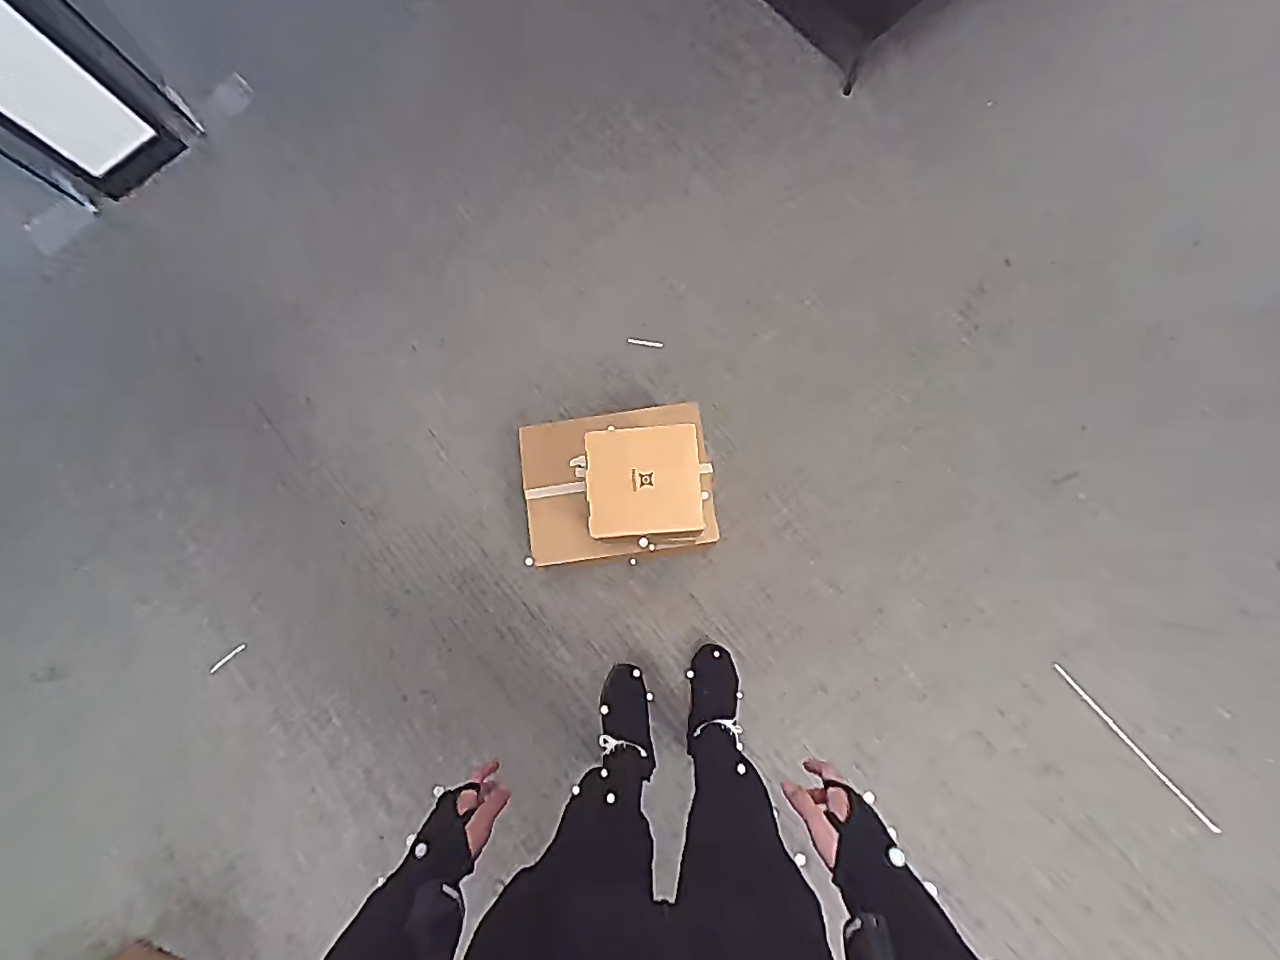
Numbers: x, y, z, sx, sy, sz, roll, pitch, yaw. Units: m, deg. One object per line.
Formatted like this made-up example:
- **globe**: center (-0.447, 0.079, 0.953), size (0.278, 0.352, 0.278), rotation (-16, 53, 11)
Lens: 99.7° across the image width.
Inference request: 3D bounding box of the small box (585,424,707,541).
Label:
- **small box**: center (0.012, 0.011, 0.887), size (0.179, 0.176, 0.168), rotation (-5, 81, 4)

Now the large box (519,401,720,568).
- **large box**: center (-0.038, 0.031, 1.302), size (0.408, 0.320, 0.320), rotation (-9, 79, 3)
